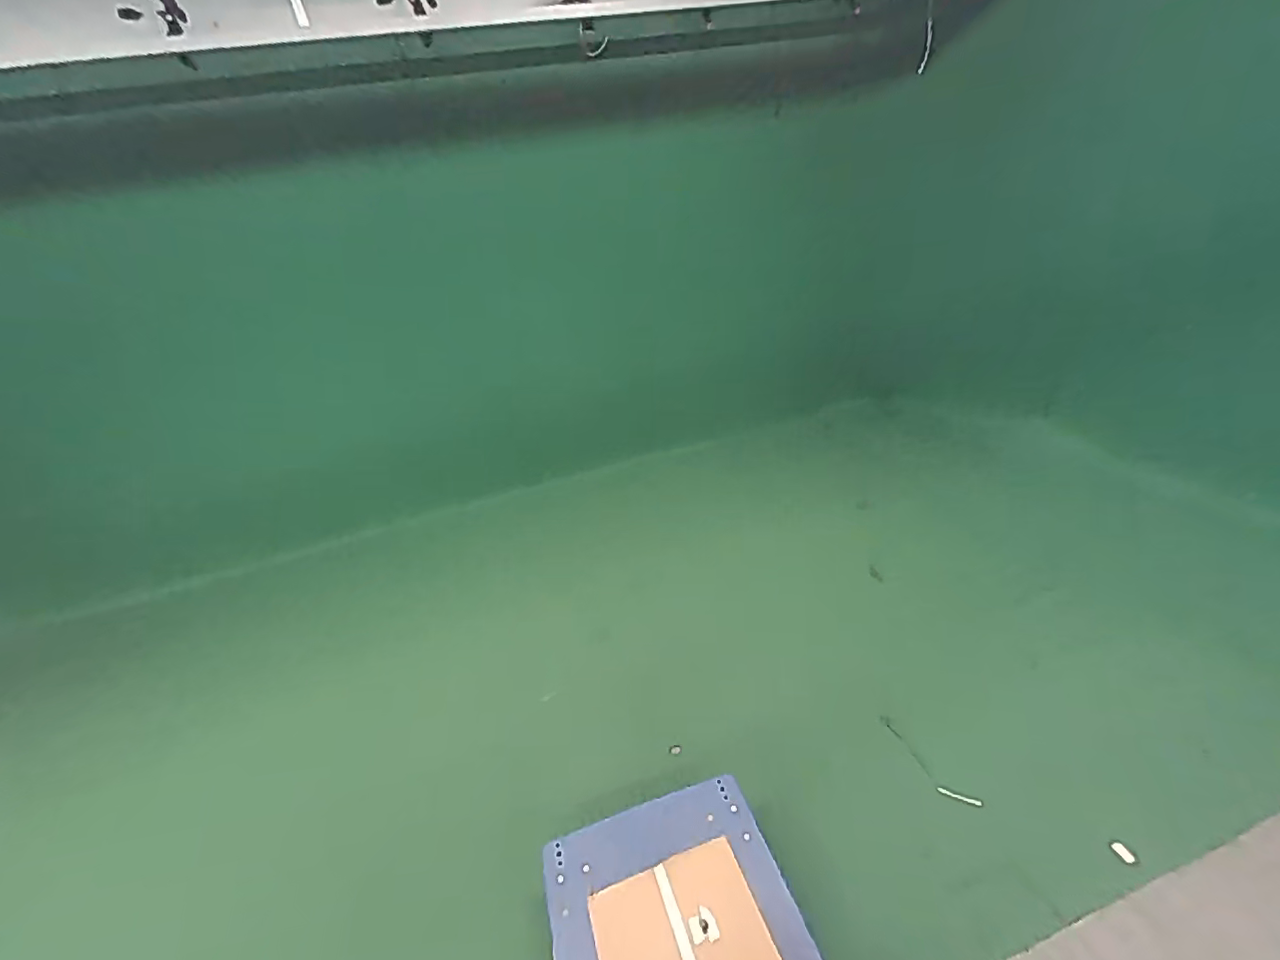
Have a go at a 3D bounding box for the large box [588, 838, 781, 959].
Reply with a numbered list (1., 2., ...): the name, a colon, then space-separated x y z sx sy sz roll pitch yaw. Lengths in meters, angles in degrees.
1. large box: 0.123 1.019 1.029 0.320 0.320 0.408 -16 28 -12
